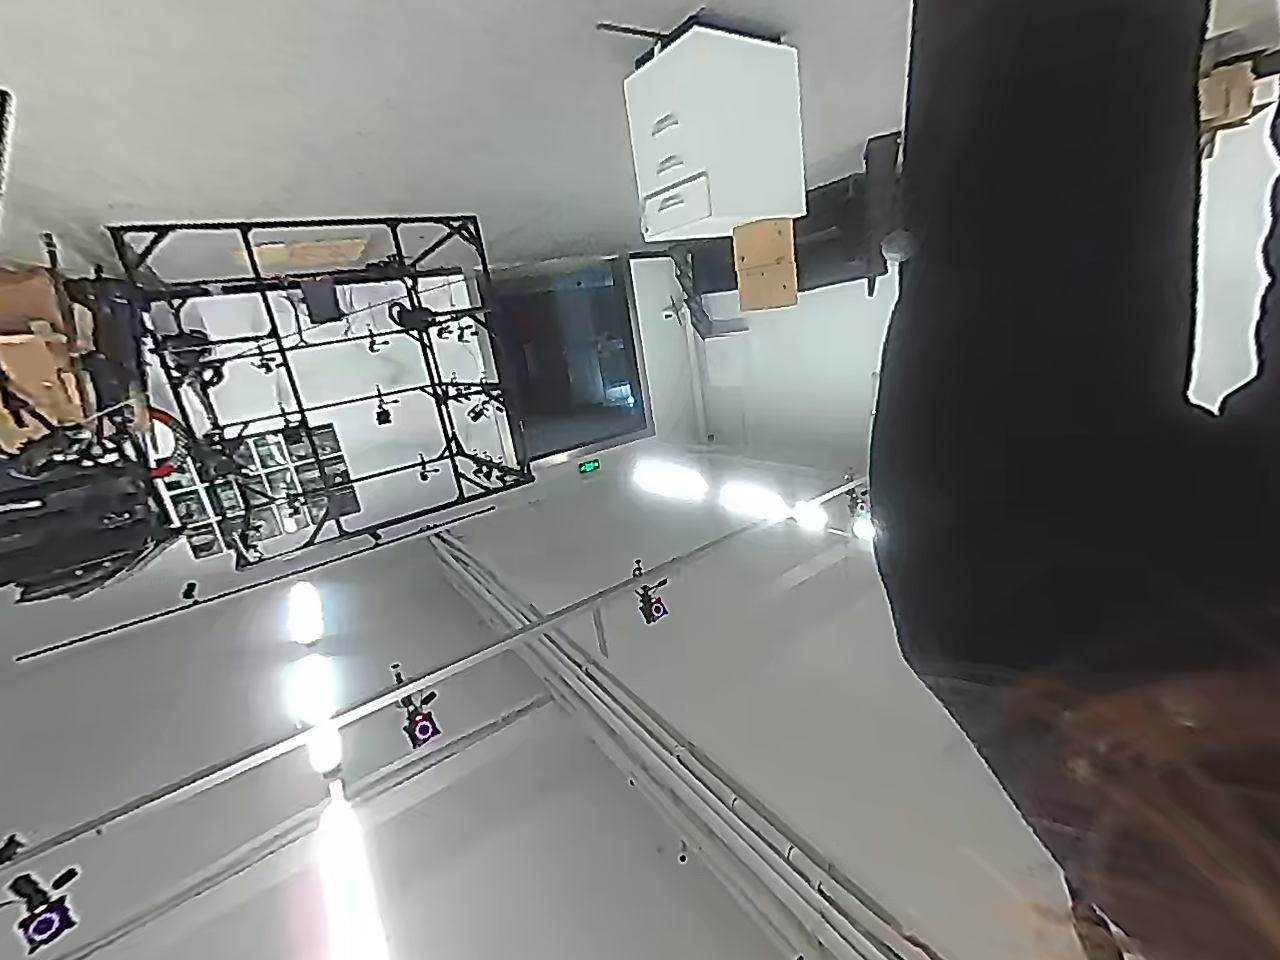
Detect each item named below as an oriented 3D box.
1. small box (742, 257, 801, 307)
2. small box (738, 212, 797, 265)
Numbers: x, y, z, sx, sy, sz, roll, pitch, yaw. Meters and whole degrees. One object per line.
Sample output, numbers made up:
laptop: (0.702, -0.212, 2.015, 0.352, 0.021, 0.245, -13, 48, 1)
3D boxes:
small box: (0.539, -0.814, 2.221, 0.179, 0.176, 0.168, -21, -158, -31)
small box: (0.510, -0.970, 2.175, 0.168, 0.176, 0.179, -20, -159, -31)
